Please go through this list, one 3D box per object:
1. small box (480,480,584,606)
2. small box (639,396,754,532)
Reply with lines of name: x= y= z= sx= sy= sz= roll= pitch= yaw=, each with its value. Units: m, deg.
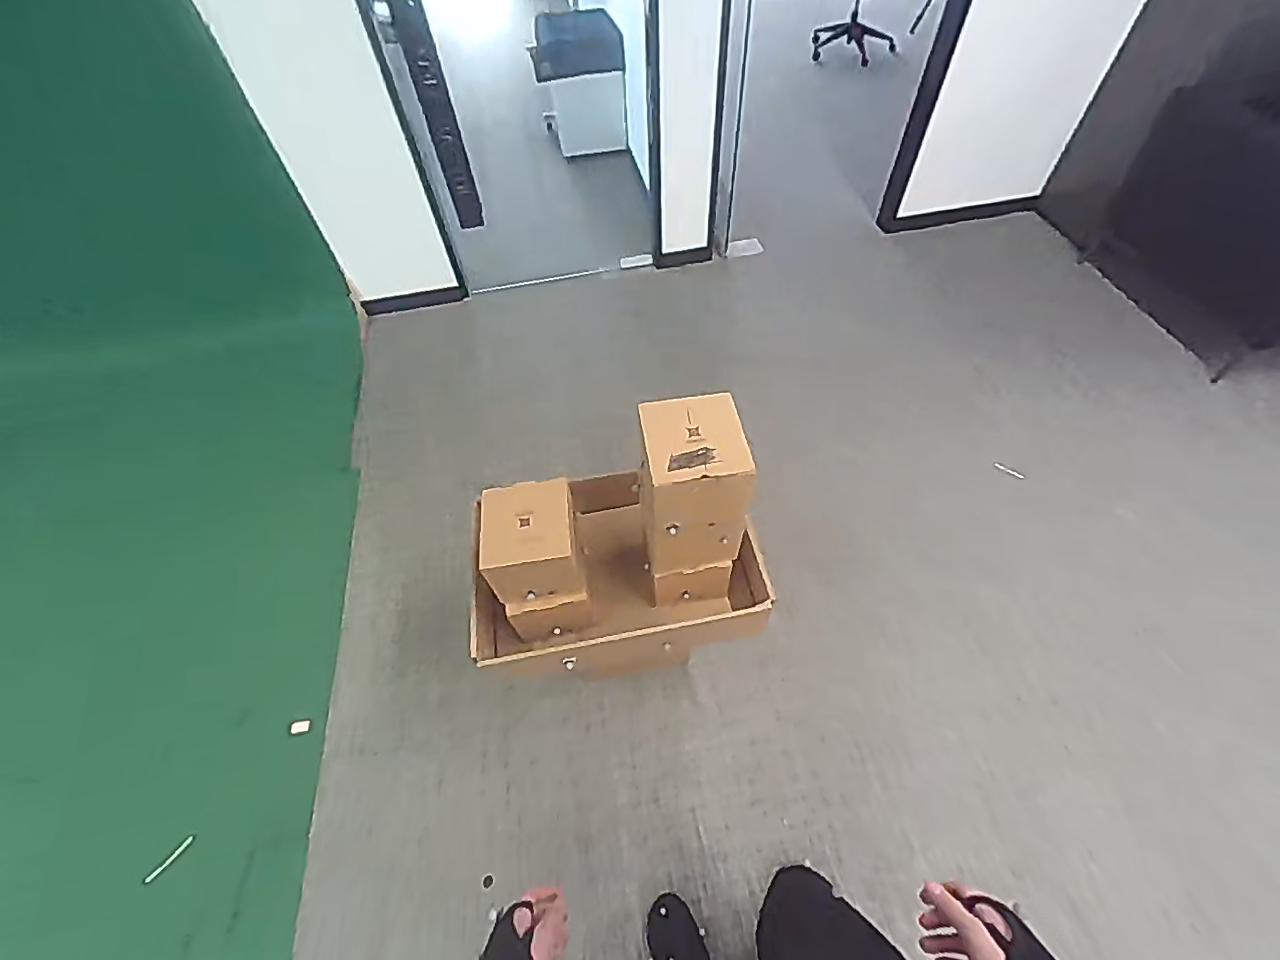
small box: x=-0.206 y=0.126 z=1.063 sx=0.168 sy=0.176 sz=0.179 roll=-8 pitch=54 yaw=-2
small box: x=0.092 y=-0.021 z=0.950 sx=0.168 sy=0.176 sz=0.179 roll=-7 pitch=54 yaw=-4
